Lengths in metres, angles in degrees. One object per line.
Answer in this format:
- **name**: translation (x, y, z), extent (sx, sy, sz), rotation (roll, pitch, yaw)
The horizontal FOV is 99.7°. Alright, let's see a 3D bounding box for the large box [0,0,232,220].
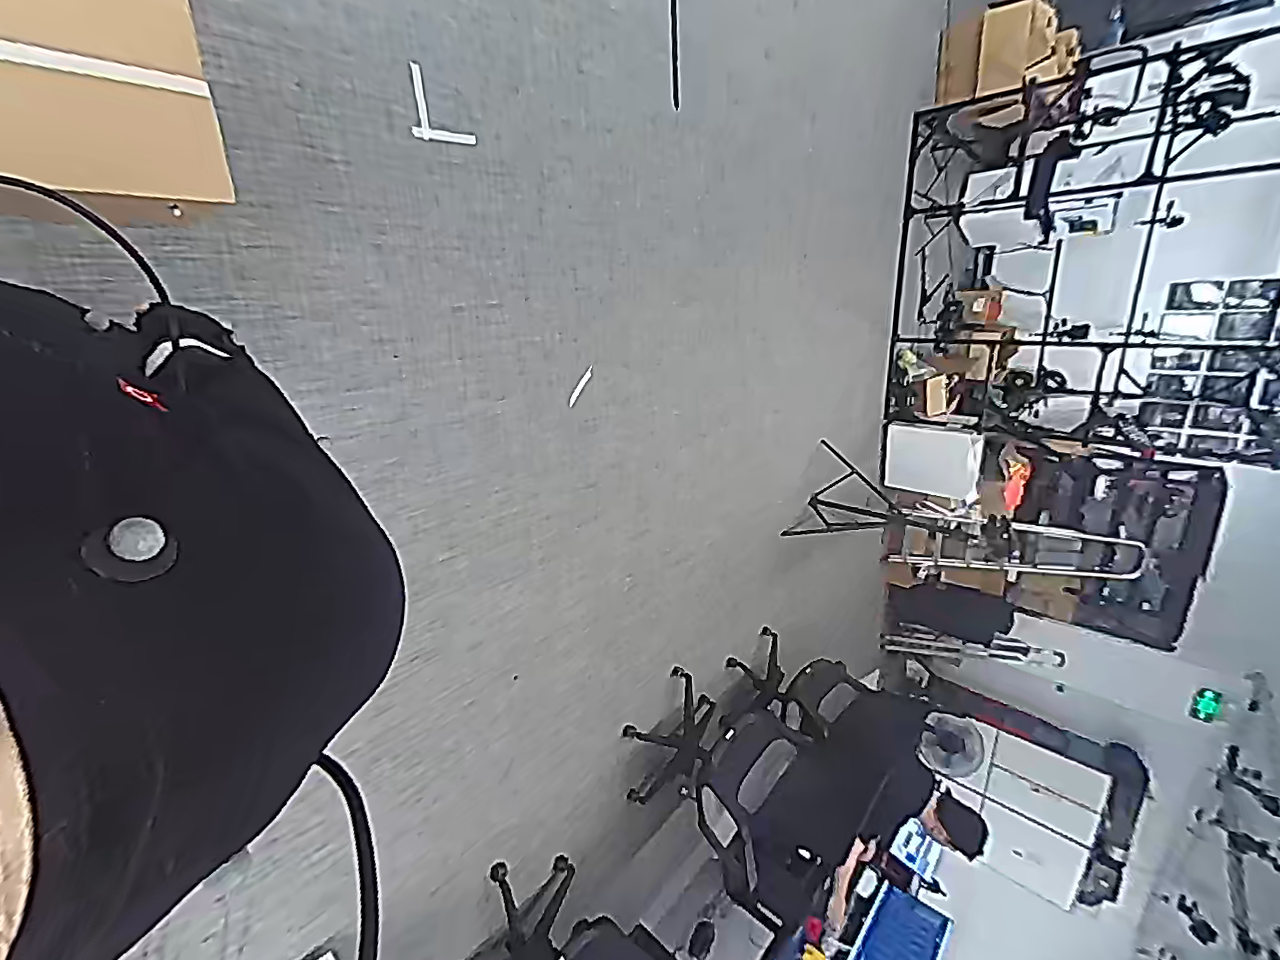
- **large box**: translation (-0.900, -0.563, 0.775), extent (0.408, 0.320, 0.320), rotation (-22, 117, -45)
